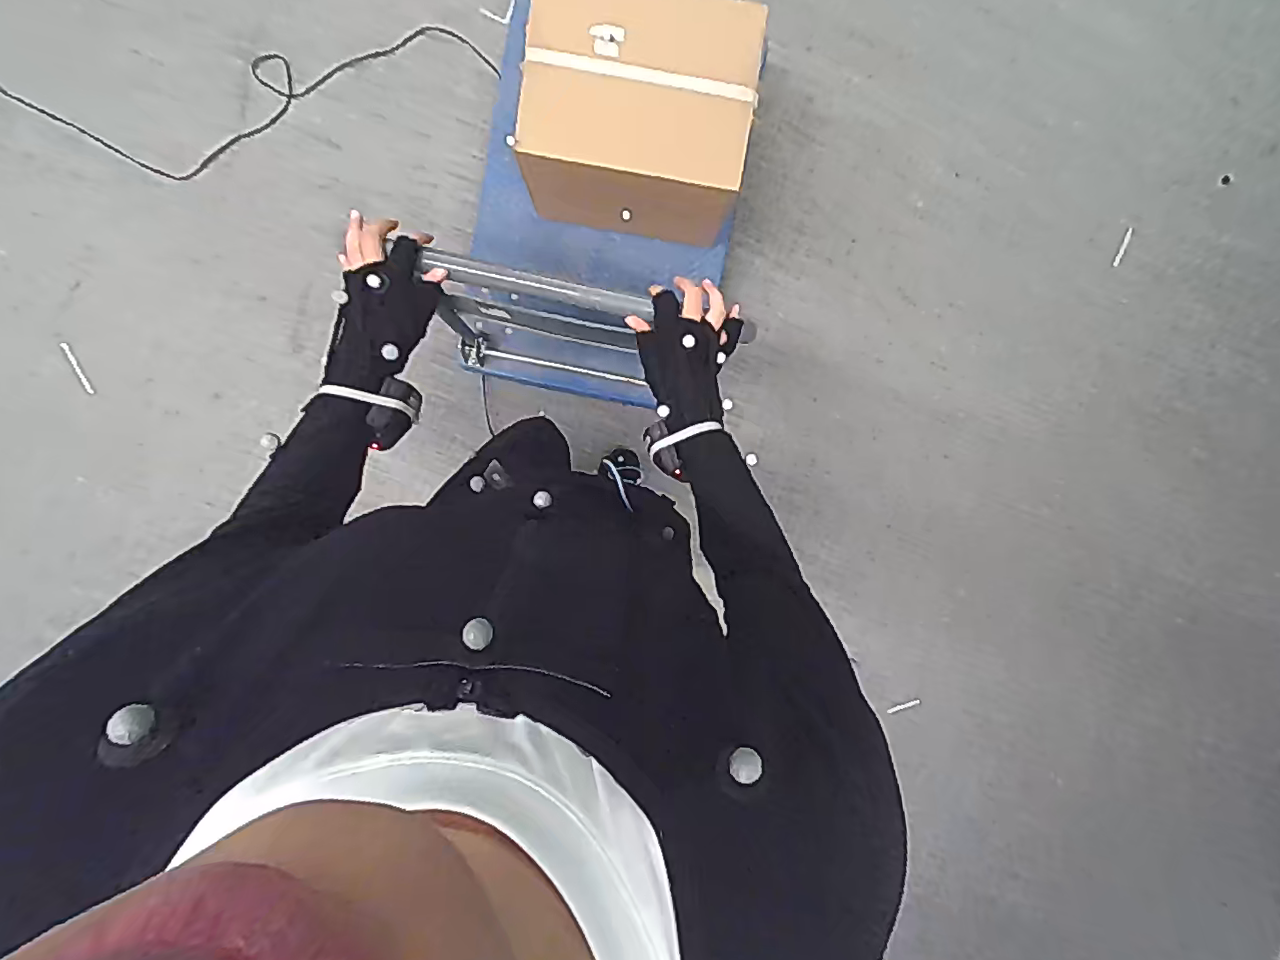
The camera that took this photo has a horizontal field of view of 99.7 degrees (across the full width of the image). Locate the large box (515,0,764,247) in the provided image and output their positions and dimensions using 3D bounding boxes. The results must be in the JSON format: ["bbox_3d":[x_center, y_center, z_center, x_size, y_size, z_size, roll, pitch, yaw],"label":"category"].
[{"bbox_3d":[-0.002,-0.699,1.088,0.408,0.320,0.320,9,94,-2],"label":"large box"}]
